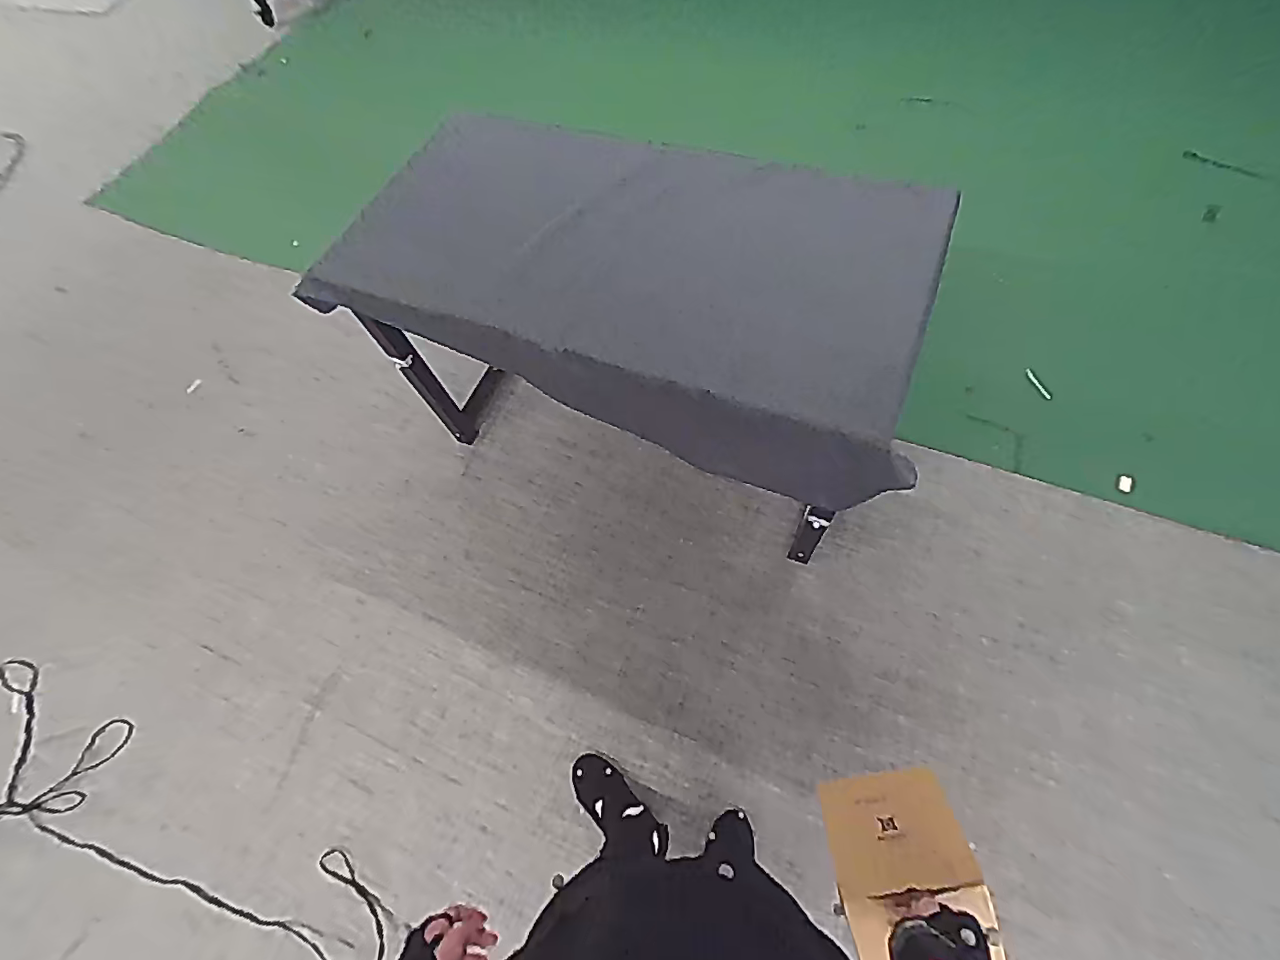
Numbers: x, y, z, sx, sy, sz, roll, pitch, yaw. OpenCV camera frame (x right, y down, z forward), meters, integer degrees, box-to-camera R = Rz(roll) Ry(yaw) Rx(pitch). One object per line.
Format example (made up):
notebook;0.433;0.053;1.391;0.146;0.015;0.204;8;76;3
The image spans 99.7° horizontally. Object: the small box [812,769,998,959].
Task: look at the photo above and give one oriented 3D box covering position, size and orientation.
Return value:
small box;0.343;0.527;0.715;0.168;0.179;0.176;-15;102;11
